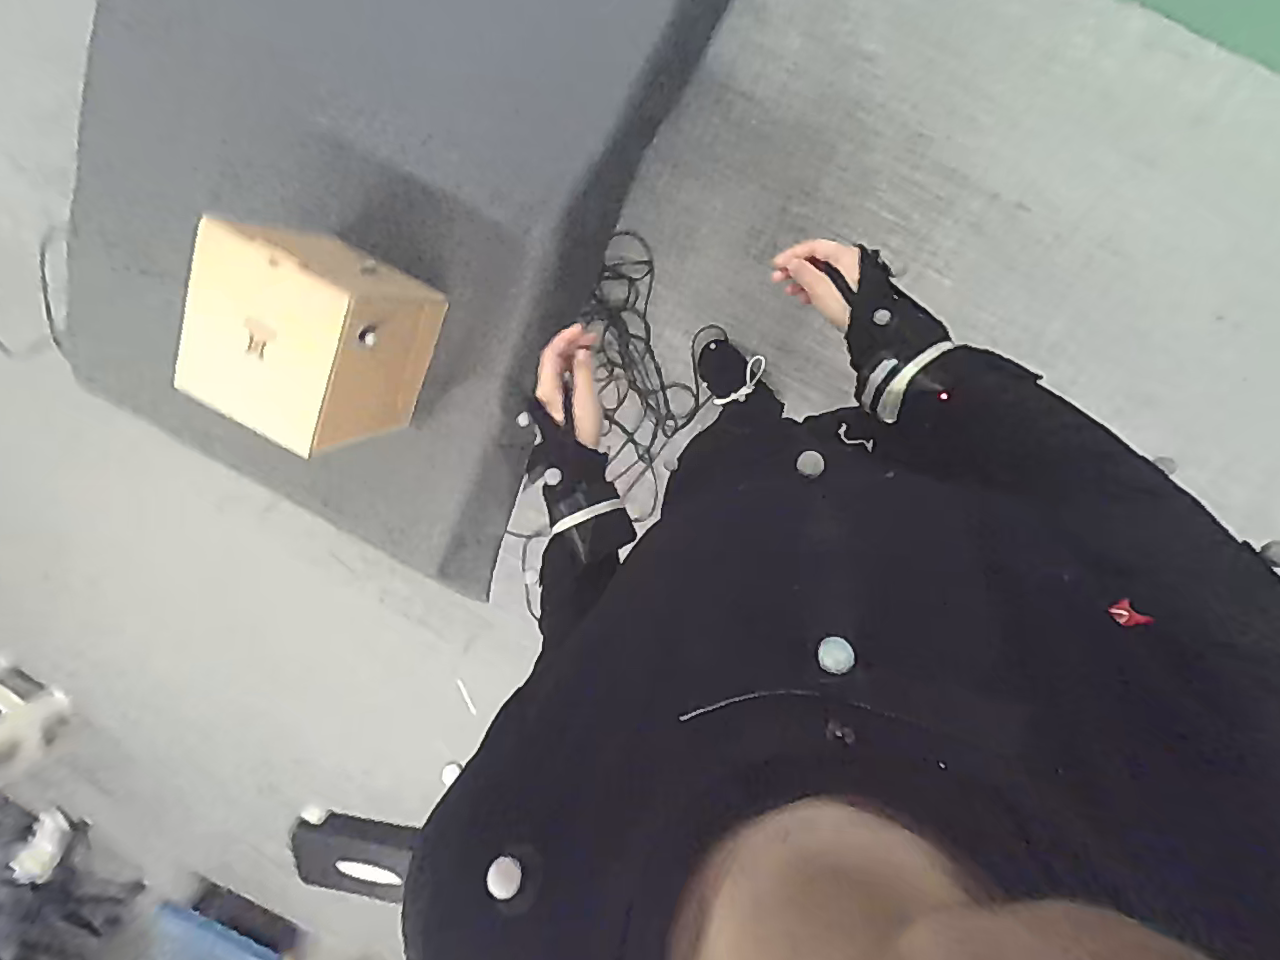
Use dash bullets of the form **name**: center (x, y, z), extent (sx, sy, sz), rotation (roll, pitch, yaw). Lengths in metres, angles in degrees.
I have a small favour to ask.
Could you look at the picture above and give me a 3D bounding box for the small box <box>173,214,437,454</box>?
- **small box**: center (-0.353, -0.156, 0.593), extent (0.168, 0.176, 0.179), rotation (27, 109, 3)
